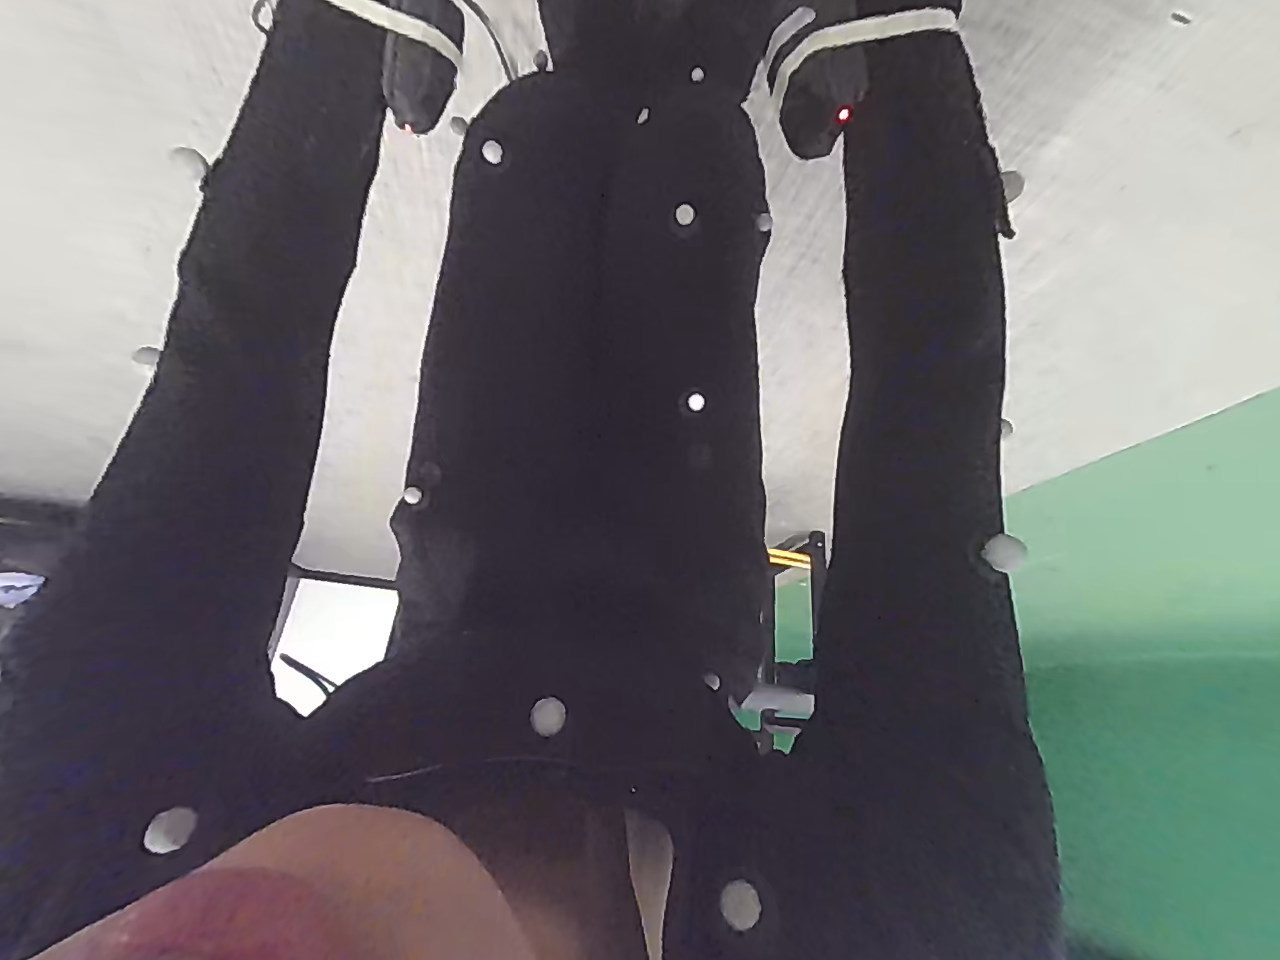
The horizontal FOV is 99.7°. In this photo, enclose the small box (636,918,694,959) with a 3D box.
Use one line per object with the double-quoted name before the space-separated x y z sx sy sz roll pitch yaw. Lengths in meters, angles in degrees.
"small box" 0.080 1.574 1.779 0.168 0.176 0.179 9 158 -6
